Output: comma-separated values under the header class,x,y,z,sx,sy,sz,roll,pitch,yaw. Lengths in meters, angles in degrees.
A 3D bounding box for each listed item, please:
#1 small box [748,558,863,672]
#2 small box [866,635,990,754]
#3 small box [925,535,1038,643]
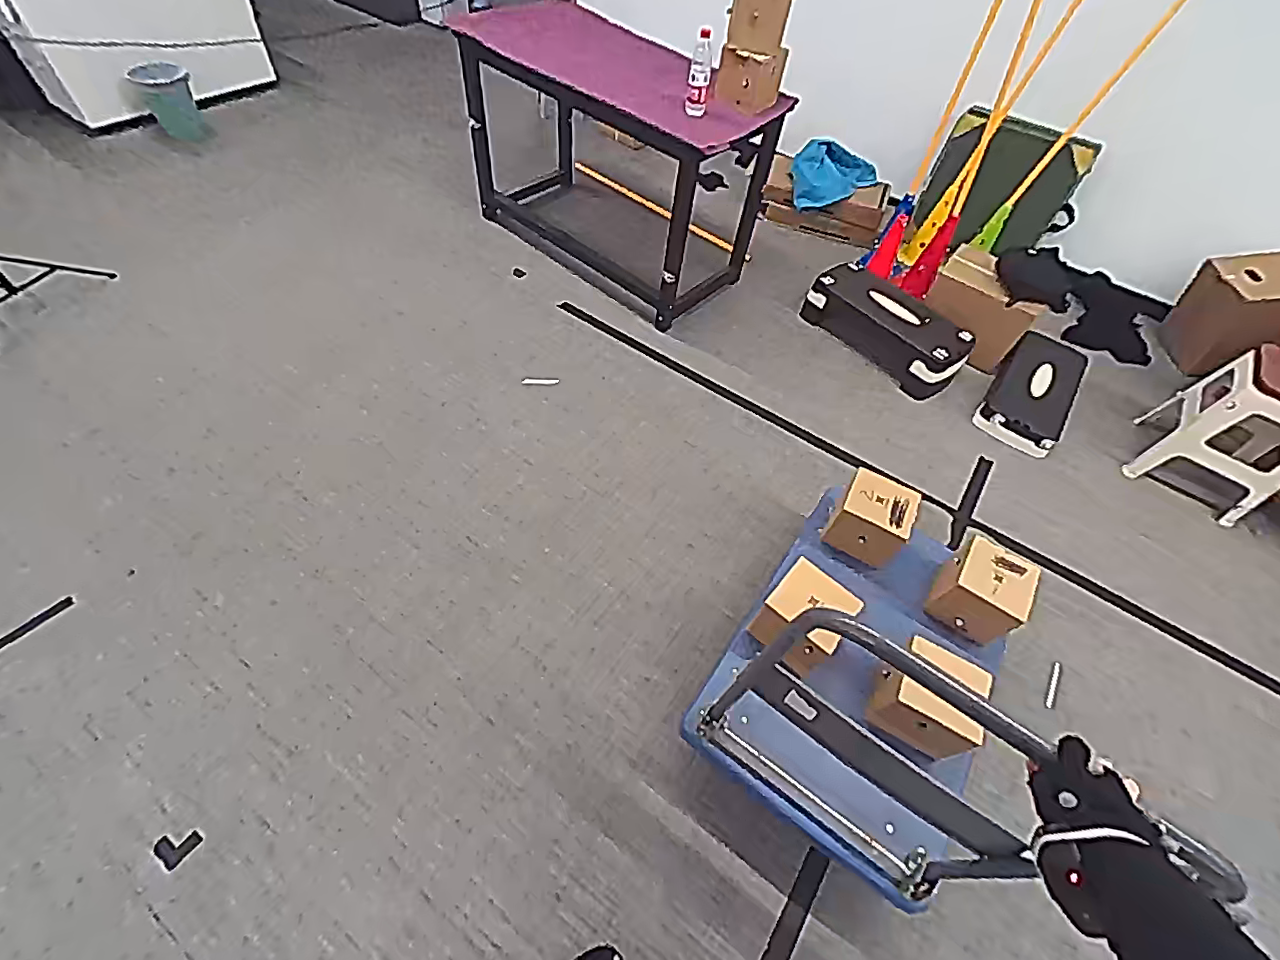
class,x,y,z,sx,sy,sz,roll,pitch,yaw
small box,0.386,0.326,1.292,0.179,0.176,0.168,39,58,18
small box,0.636,0.484,1.208,0.179,0.176,0.168,28,56,13
small box,0.865,0.282,1.383,0.168,0.176,0.179,33,58,16
